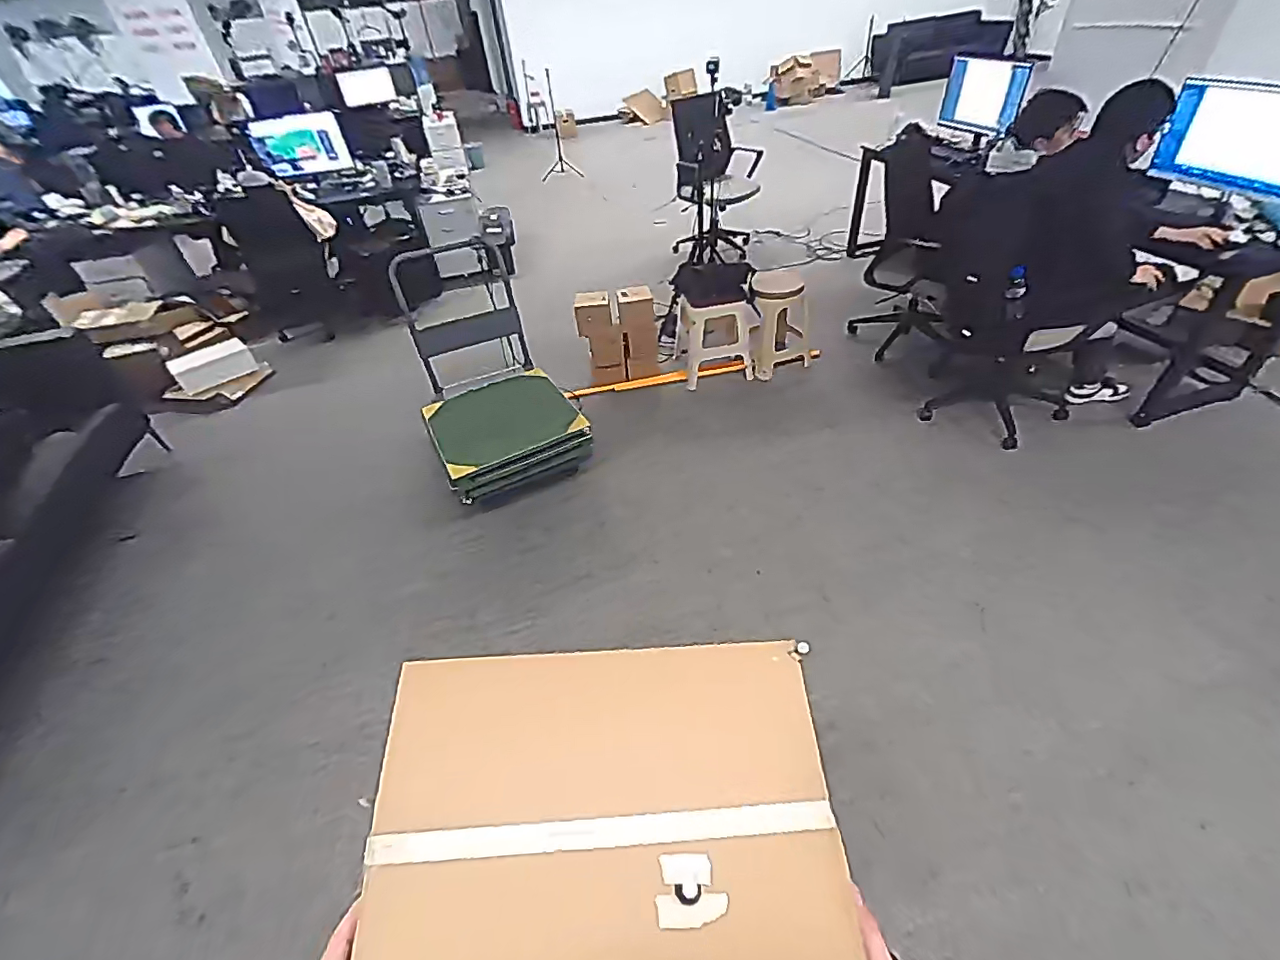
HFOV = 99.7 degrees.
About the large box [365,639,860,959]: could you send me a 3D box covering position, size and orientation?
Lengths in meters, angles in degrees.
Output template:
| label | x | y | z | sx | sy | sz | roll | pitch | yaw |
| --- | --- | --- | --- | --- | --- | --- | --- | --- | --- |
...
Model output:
| label | x | y | z | sx | sy | sz | roll | pitch | yaw |
| --- | --- | --- | --- | --- | --- | --- | --- | --- | --- |
| large box | -0.034 | 0.390 | 0.608 | 0.408 | 0.320 | 0.320 | -2 | 57 | -4 |
